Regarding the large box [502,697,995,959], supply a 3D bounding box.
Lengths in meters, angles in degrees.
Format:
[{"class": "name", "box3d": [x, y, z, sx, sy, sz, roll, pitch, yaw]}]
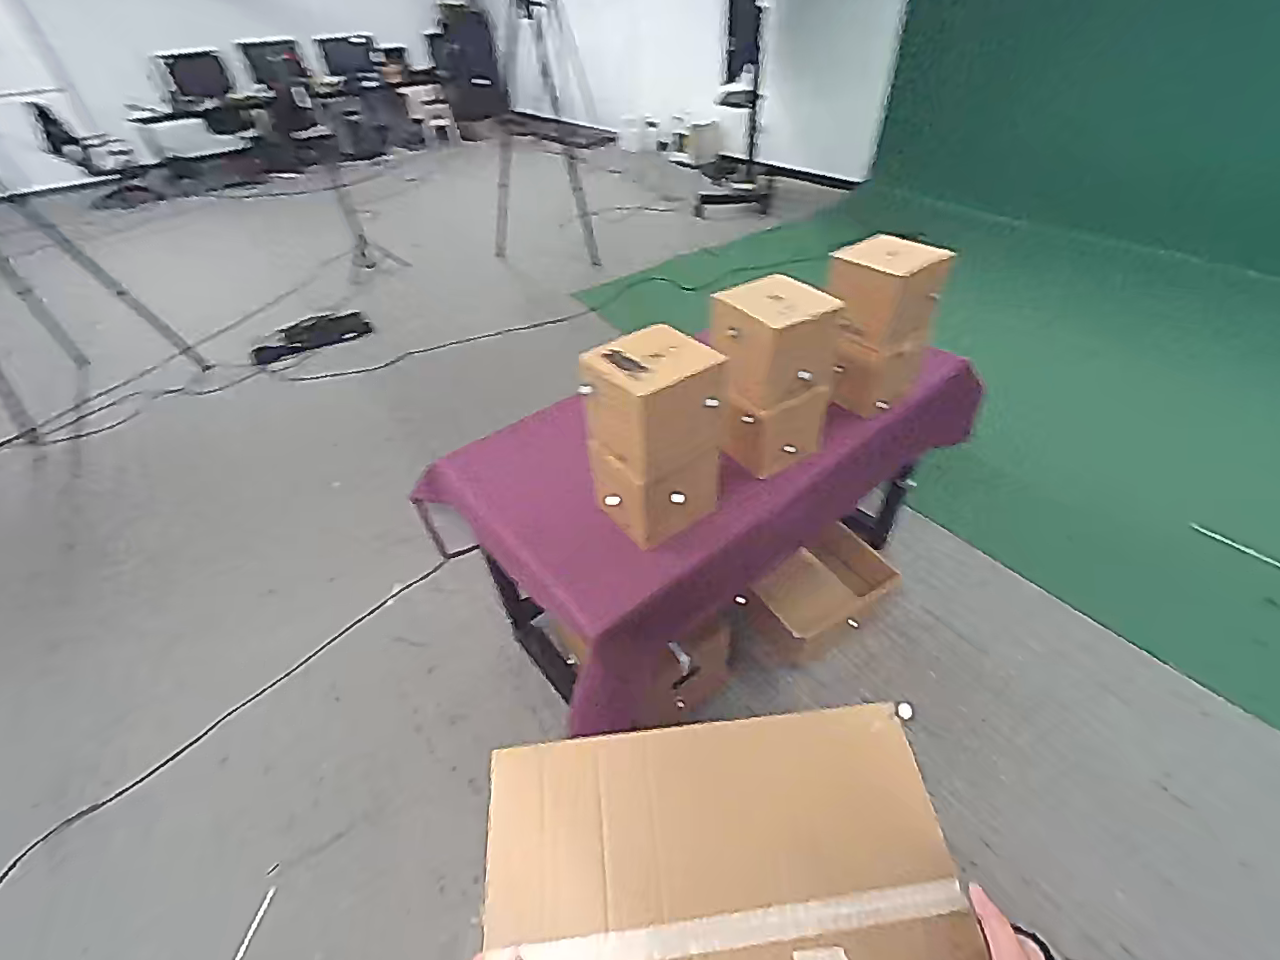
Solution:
[{"class": "large box", "box3d": [0.081, 0.450, 0.571, 0.408, 0.320, 0.320, -4, 55, -4]}]

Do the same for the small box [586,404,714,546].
[{"class": "small box", "box3d": [0.023, -0.007, 1.014, 0.179, 0.176, 0.168, -29, 48, -23]}]

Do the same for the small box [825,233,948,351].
[{"class": "small box", "box3d": [0.511, -0.403, 1.157, 0.179, 0.176, 0.168, -28, 47, -23]}]

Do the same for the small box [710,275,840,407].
[{"class": "small box", "box3d": [0.245, -0.266, 1.034, 0.168, 0.176, 0.179, -25, 47, -20]}]

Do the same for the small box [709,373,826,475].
[{"class": "small box", "box3d": [0.258, -0.141, 1.141, 0.168, 0.176, 0.179, -25, 47, -21]}]

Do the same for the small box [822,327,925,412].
[{"class": "small box", "box3d": [0.520, -0.280, 1.264, 0.168, 0.176, 0.179, -29, 47, -24]}]
